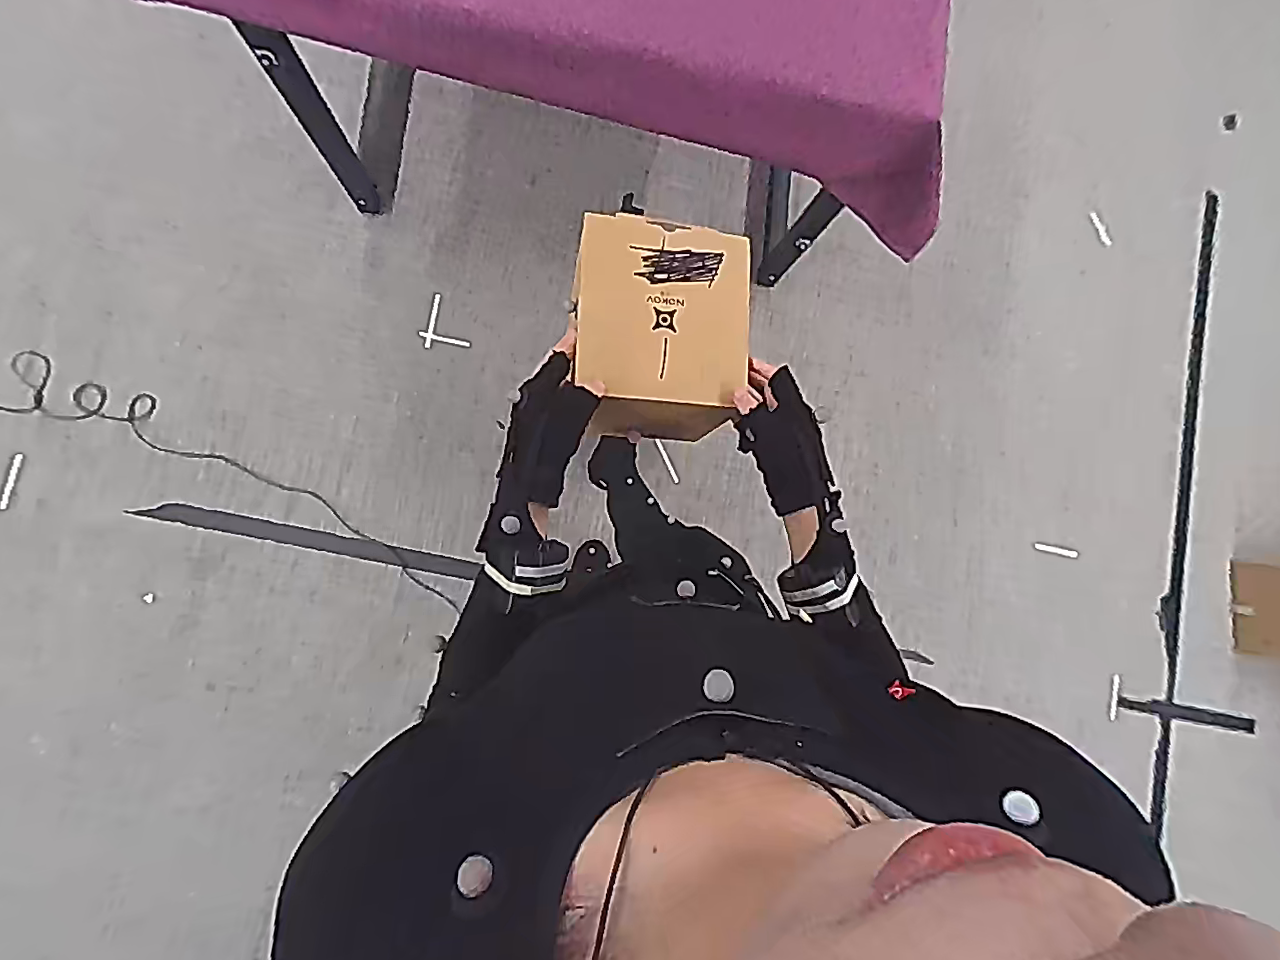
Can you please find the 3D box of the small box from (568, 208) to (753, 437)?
[{"bbox_3d":[0.012,-0.154,0.584,0.168,0.176,0.179,3,82,-10],"label":"small box"}]
